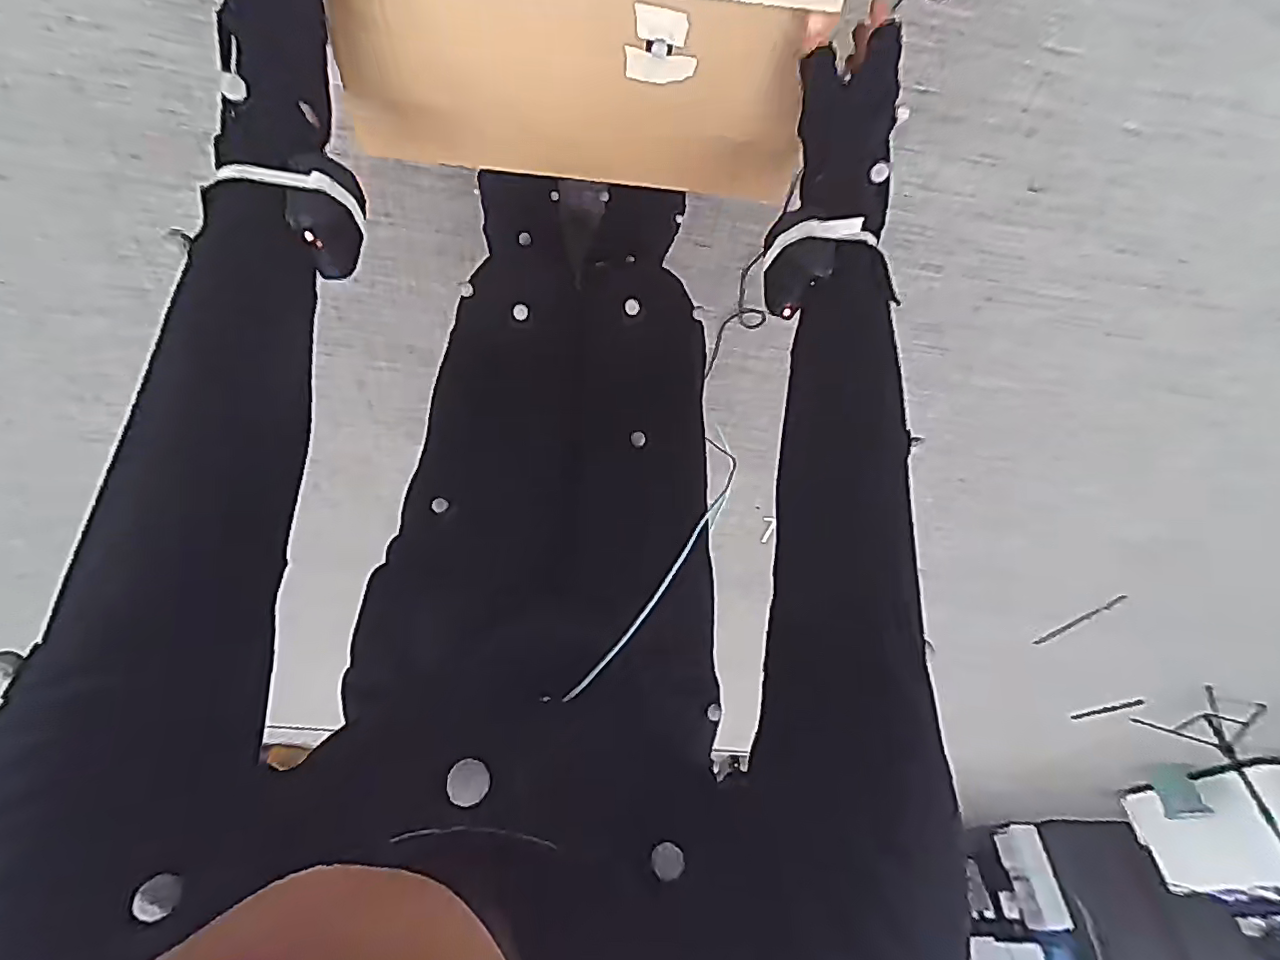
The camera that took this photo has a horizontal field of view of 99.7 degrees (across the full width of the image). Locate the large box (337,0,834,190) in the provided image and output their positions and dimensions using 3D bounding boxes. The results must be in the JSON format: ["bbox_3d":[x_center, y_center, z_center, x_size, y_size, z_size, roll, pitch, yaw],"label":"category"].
[{"bbox_3d":[-0.042,-0.512,0.509,0.408,0.320,0.320,4,141,-4],"label":"large box"}]
